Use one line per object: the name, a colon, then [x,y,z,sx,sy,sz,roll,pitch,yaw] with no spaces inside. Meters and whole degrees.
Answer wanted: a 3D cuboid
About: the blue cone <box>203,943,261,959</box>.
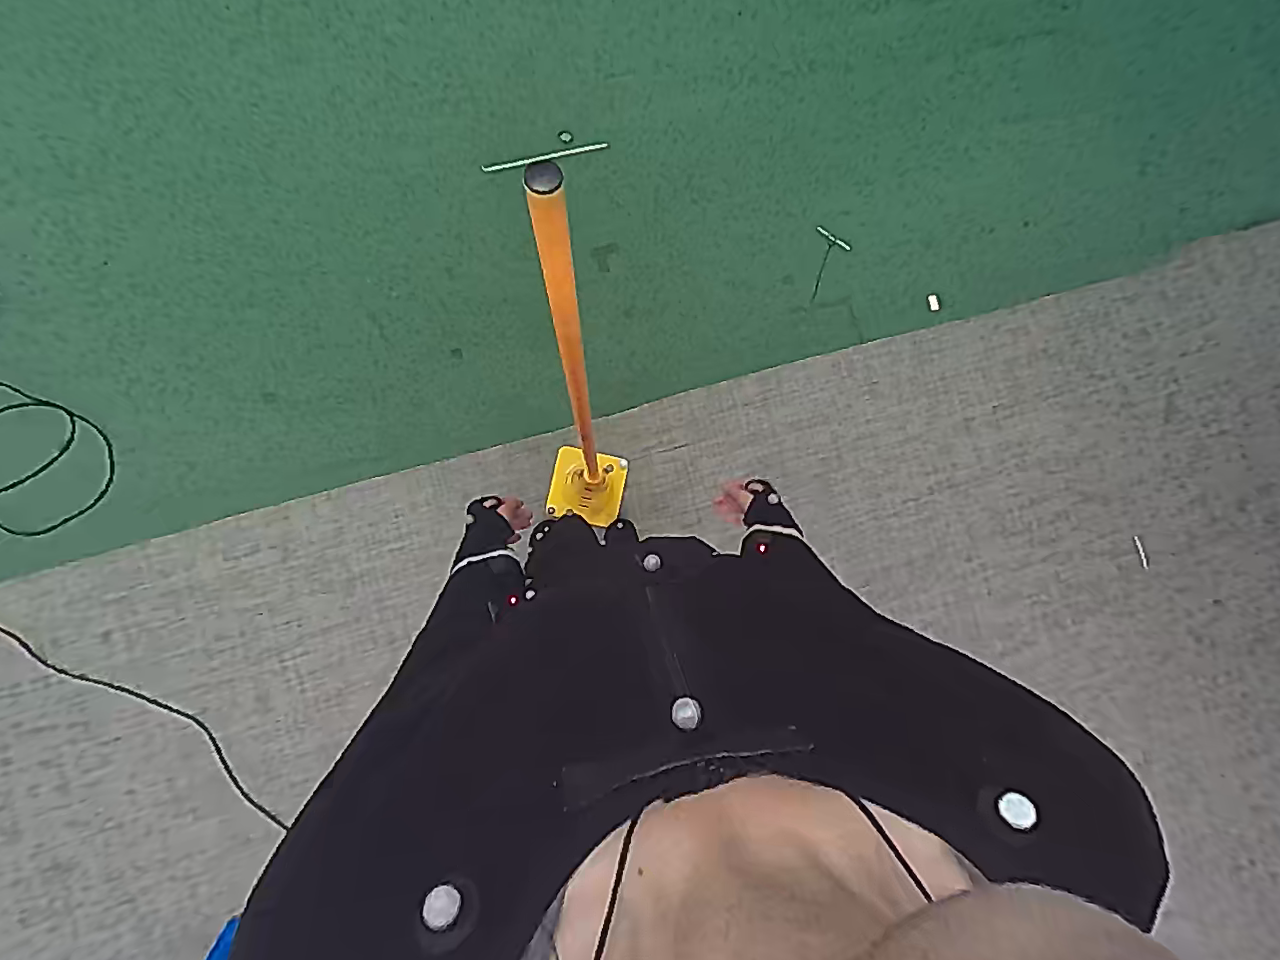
blue cone: [-0.935,1.188,1.095,0.192,0.380,0.193,28,84,-6]
